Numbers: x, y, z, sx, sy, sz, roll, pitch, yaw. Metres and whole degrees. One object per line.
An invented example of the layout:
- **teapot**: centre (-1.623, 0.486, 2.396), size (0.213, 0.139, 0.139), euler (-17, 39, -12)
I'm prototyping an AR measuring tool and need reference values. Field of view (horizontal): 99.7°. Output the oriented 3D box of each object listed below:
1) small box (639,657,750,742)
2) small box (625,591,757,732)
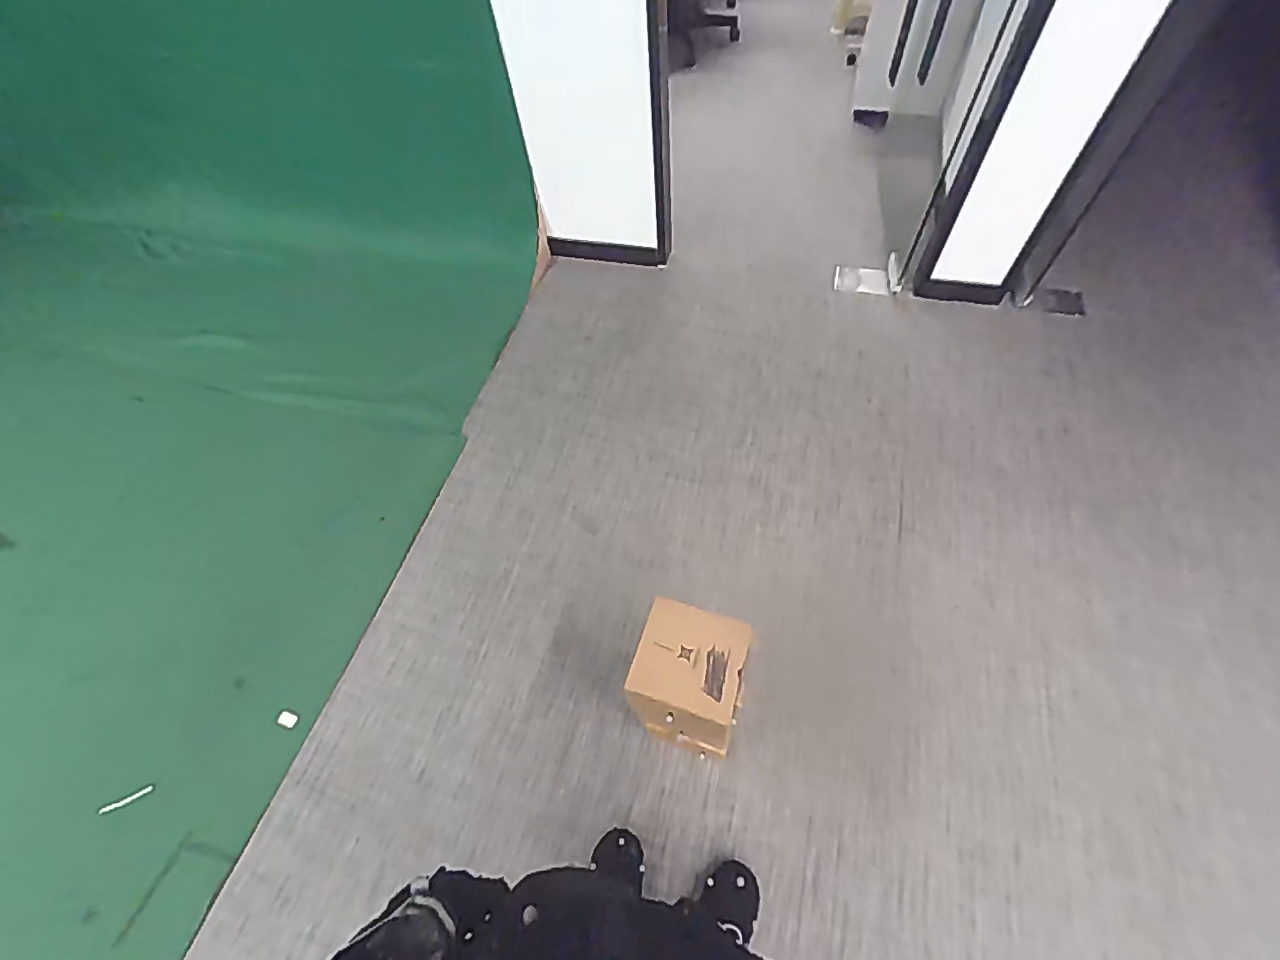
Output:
- **small box**: centre (0.111, 0.413, 1.090), size (0.179, 0.176, 0.168), euler (15, 61, 14)
- **small box**: centre (0.090, 0.325, 0.949), size (0.179, 0.176, 0.168), euler (18, 60, 16)
